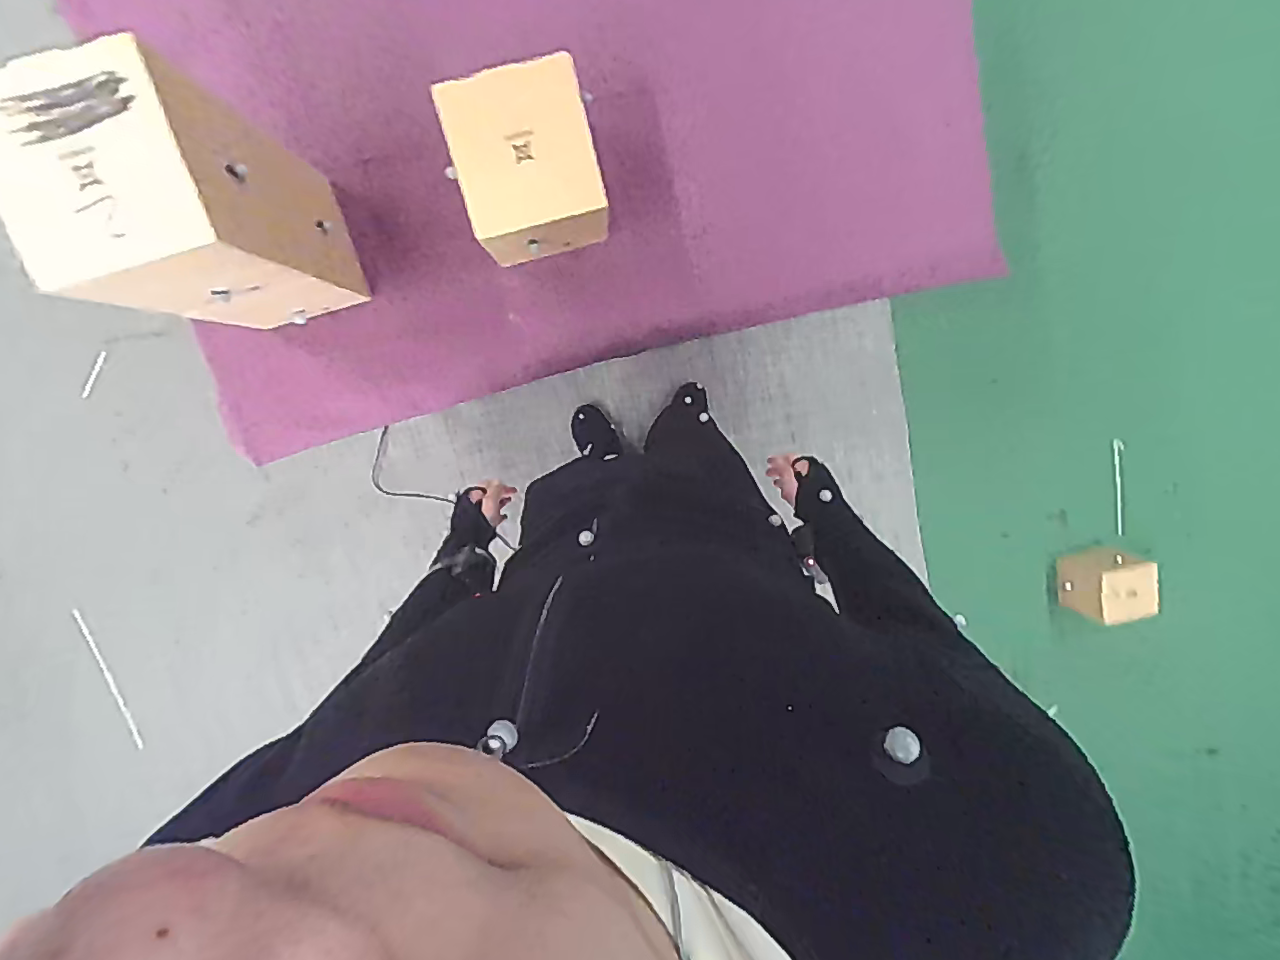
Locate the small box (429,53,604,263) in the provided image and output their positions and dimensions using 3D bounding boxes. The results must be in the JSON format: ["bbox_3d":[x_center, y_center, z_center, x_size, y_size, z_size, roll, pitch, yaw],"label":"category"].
[{"bbox_3d":[-0.146,-0.400,0.711,0.168,0.176,0.179,-16,100,-1],"label":"small box"}]

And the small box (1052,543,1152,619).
[{"bbox_3d":[1.444,0.310,1.695,0.179,0.176,0.168,-12,100,-2],"label":"small box"}]

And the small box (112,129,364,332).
[{"bbox_3d":[-0.493,-0.304,0.696,0.168,0.176,0.179,-17,102,-2],"label":"small box"}]
